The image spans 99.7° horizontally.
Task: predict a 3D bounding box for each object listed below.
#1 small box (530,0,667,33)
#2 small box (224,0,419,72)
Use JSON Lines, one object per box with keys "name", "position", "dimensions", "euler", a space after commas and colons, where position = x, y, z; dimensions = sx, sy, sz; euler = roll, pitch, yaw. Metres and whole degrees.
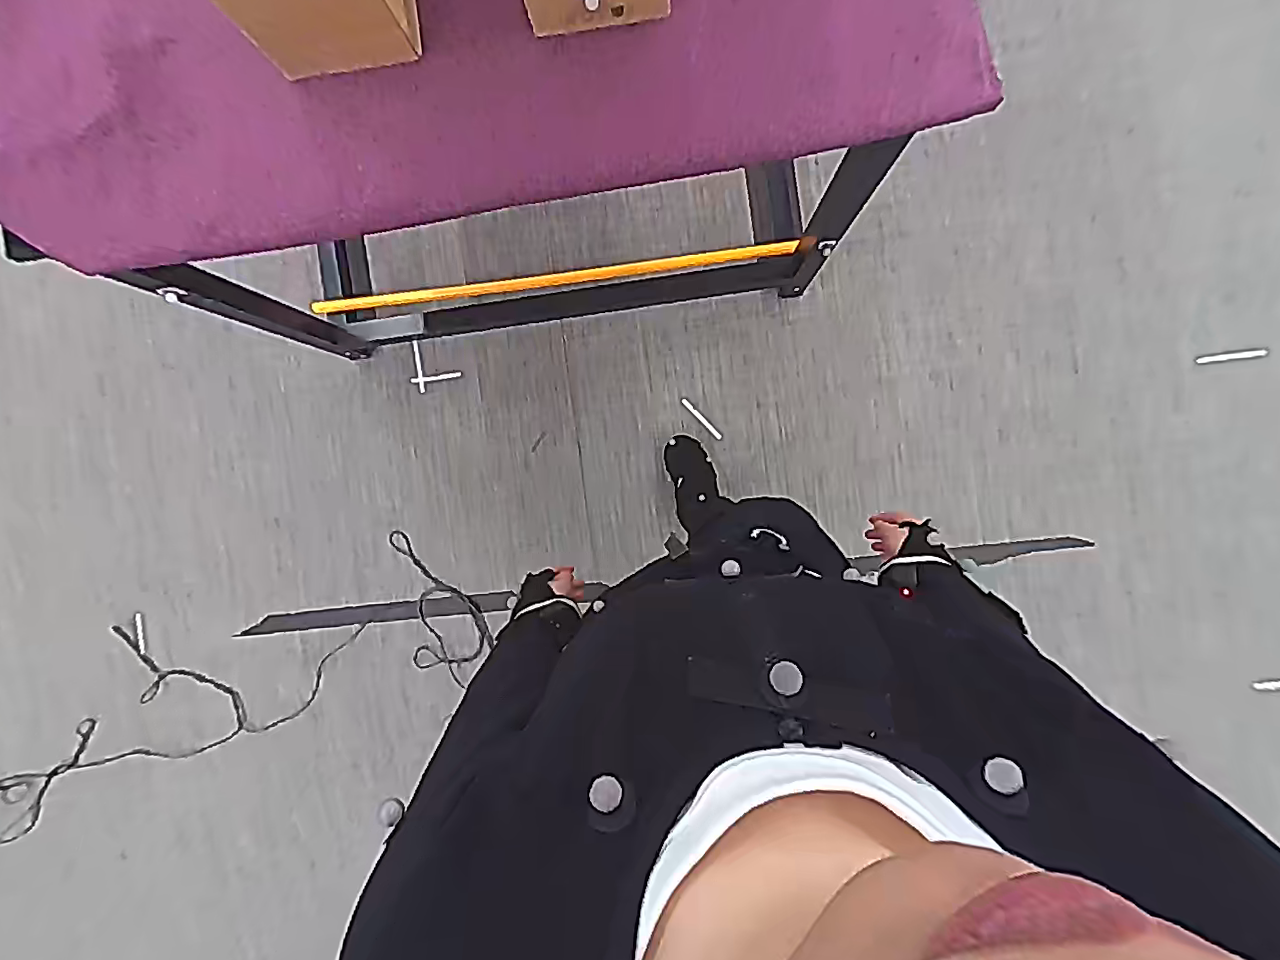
{"name": "small box", "position": [-0.059, -0.631, 0.570], "dimensions": [0.168, 0.176, 0.179], "euler": [-5, 91, 4]}
{"name": "small box", "position": [-0.369, -0.589, 0.590], "dimensions": [0.179, 0.176, 0.168], "euler": [-7, 90, 3]}
